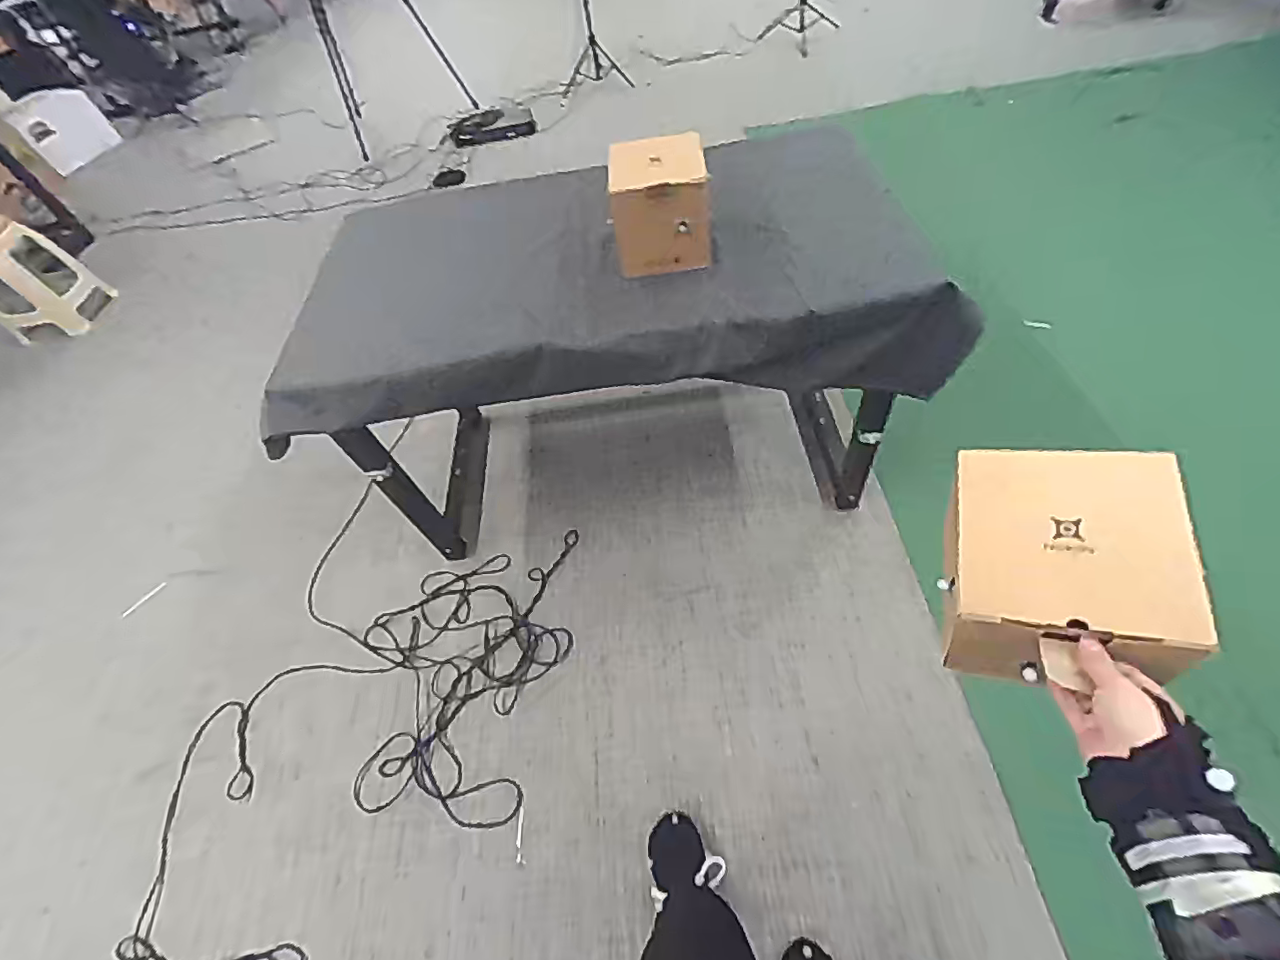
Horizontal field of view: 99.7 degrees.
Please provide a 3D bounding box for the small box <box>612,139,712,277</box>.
[{"bbox_3d":[0.044,-0.494,1.000,0.168,0.176,0.179,-5,53,5],"label":"small box"}]
